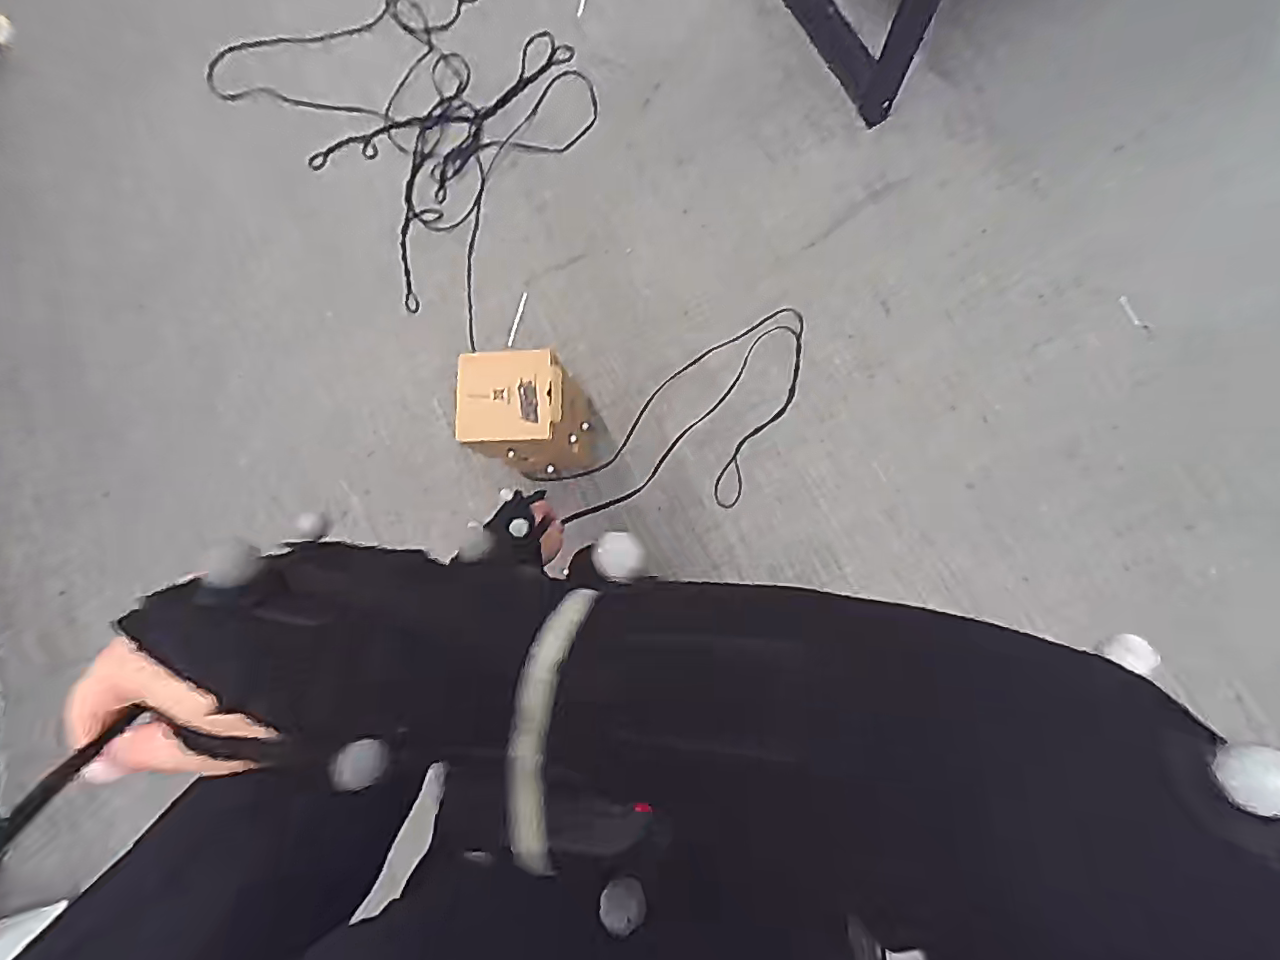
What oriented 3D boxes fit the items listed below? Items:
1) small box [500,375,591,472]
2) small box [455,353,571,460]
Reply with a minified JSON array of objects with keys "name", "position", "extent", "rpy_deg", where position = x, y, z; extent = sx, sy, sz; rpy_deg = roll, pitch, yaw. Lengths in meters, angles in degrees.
[{"name":"small box","position":[-0.207,-0.115,1.196],"extent":[0.168,0.176,0.179],"rpy_deg":[-6,81,5]},{"name":"small box","position":[-0.233,-0.134,1.034],"extent":[0.179,0.176,0.168],"rpy_deg":[-1,81,6]}]
